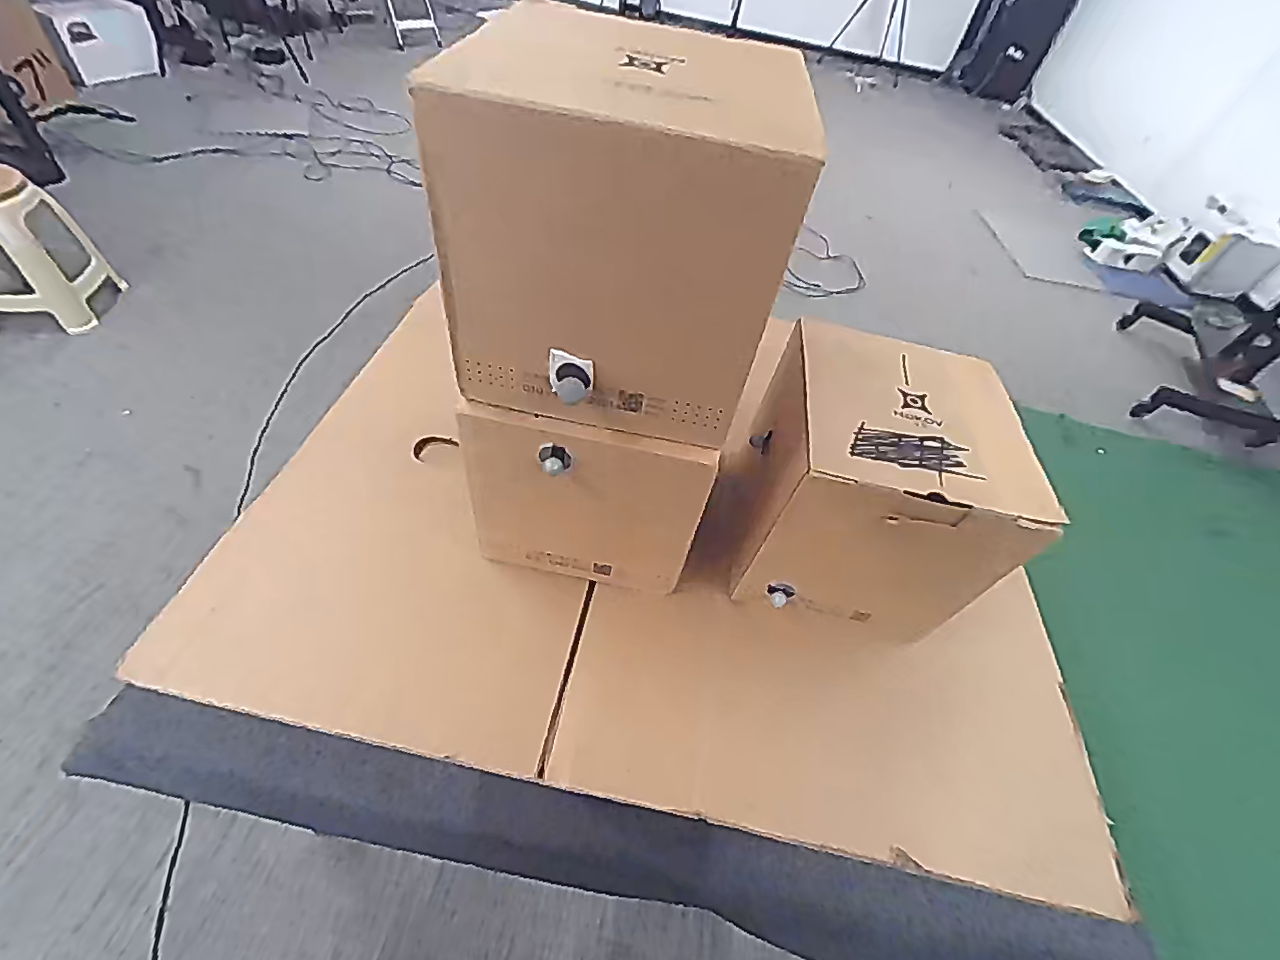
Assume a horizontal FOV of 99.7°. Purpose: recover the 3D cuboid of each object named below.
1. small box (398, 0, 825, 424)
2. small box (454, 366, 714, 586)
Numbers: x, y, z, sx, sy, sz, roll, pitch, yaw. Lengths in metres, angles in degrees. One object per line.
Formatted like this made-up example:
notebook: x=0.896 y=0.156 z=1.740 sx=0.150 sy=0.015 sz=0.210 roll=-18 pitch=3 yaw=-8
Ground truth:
small box: x=-0.011 y=-0.161 z=0.314 sx=0.168 sy=0.176 sz=0.179 roll=9 pitch=51 yaw=-1
small box: x=-0.032 y=-0.041 z=0.444 sx=0.168 sy=0.176 sz=0.179 roll=11 pitch=49 yaw=2
